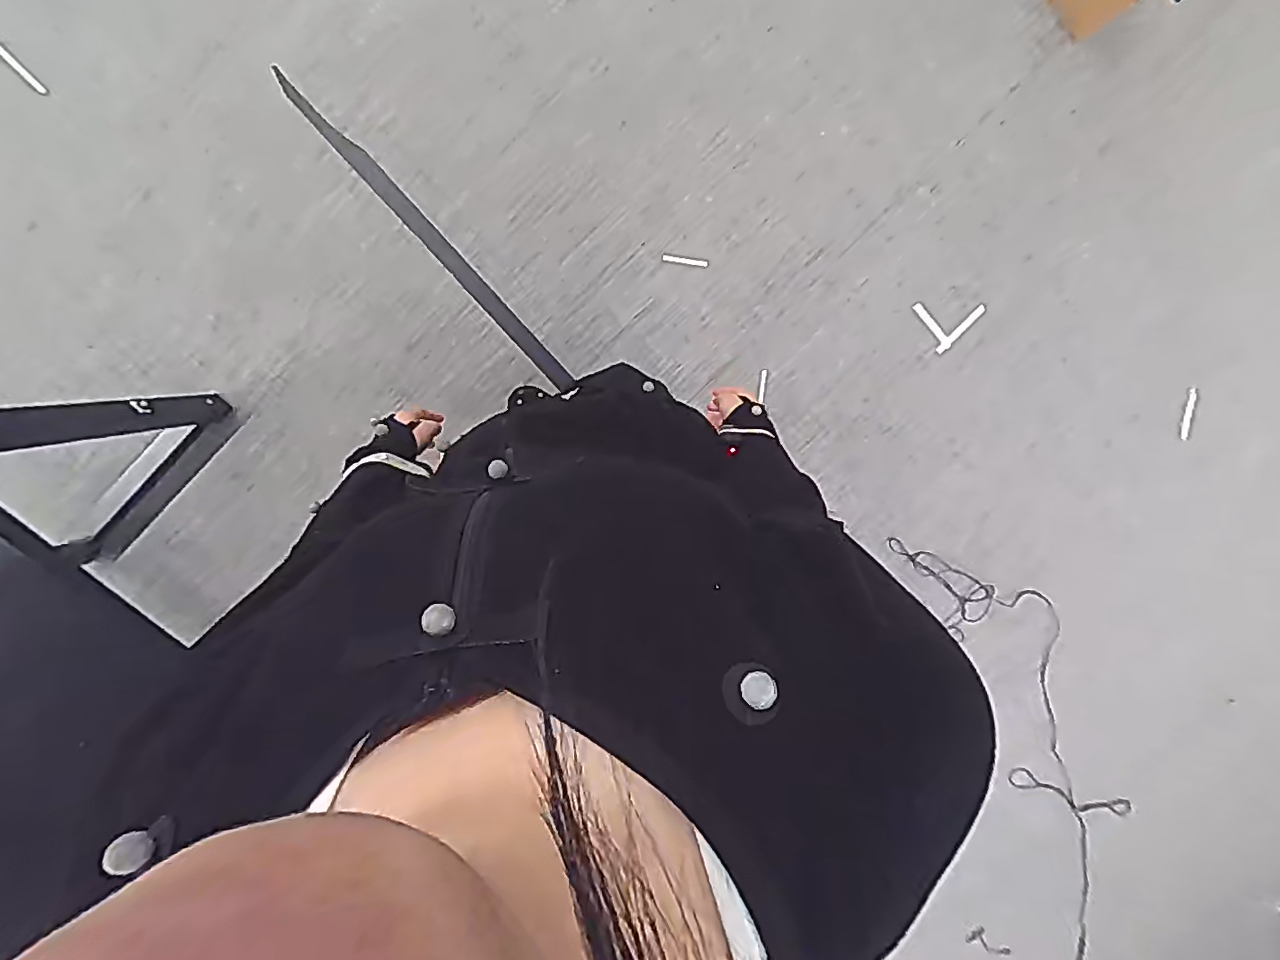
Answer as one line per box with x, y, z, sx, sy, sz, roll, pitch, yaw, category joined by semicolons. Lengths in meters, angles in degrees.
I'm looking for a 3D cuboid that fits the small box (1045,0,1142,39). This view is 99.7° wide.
1.132;-1.219;1.301;0.168;0.176;0.179;-43;101;4;small box
